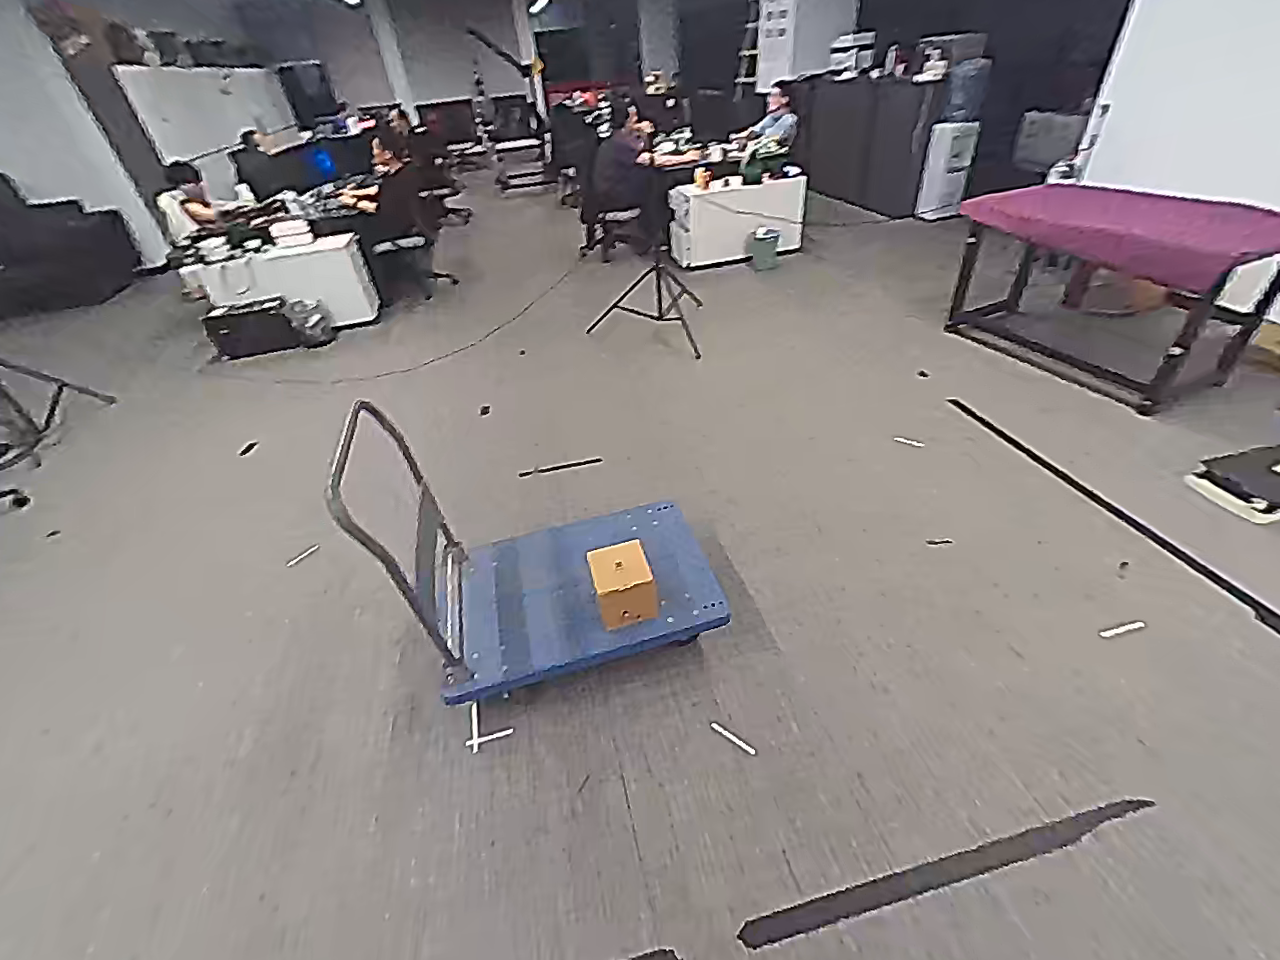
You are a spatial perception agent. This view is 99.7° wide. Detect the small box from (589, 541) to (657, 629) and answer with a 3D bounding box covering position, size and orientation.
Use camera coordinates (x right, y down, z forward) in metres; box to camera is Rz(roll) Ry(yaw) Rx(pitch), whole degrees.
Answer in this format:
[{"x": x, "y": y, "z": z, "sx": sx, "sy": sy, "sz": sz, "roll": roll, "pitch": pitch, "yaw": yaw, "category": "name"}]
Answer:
[{"x": -0.051, "y": 0.318, "z": 1.635, "sx": 0.168, "sy": 0.176, "sz": 0.179, "roll": -14, "pitch": 39, "yaw": -9, "category": "small box"}]
